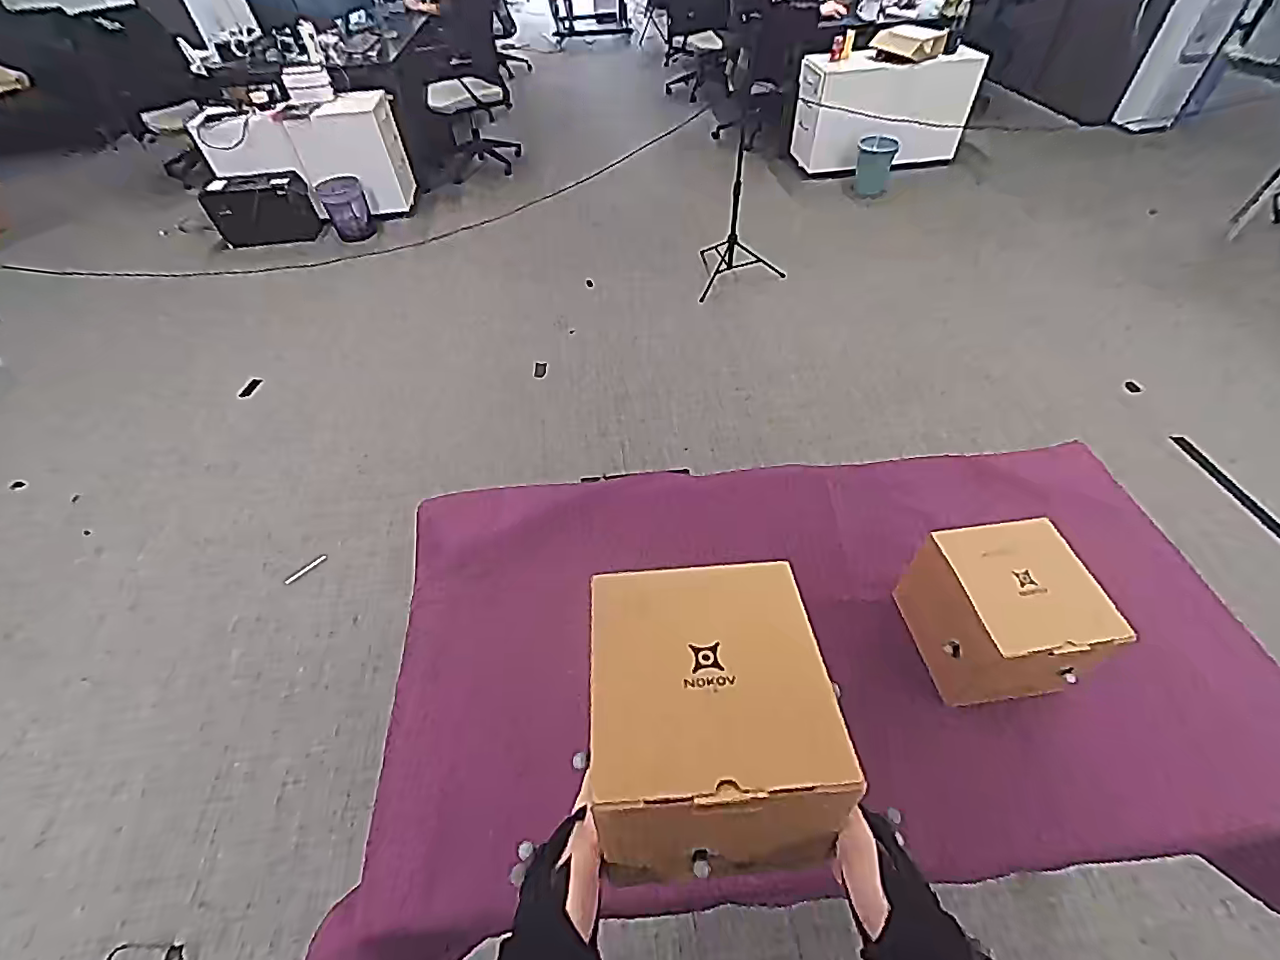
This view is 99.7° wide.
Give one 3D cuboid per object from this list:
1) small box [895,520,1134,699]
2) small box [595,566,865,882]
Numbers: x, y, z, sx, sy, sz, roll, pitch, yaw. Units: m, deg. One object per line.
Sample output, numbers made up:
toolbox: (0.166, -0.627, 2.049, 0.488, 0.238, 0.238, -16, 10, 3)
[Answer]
small box: (0.476, 0.179, 0.723, 0.168, 0.176, 0.179, -6, 49, -3)
small box: (0.050, 0.192, 0.436, 0.168, 0.176, 0.179, -4, 42, -2)
